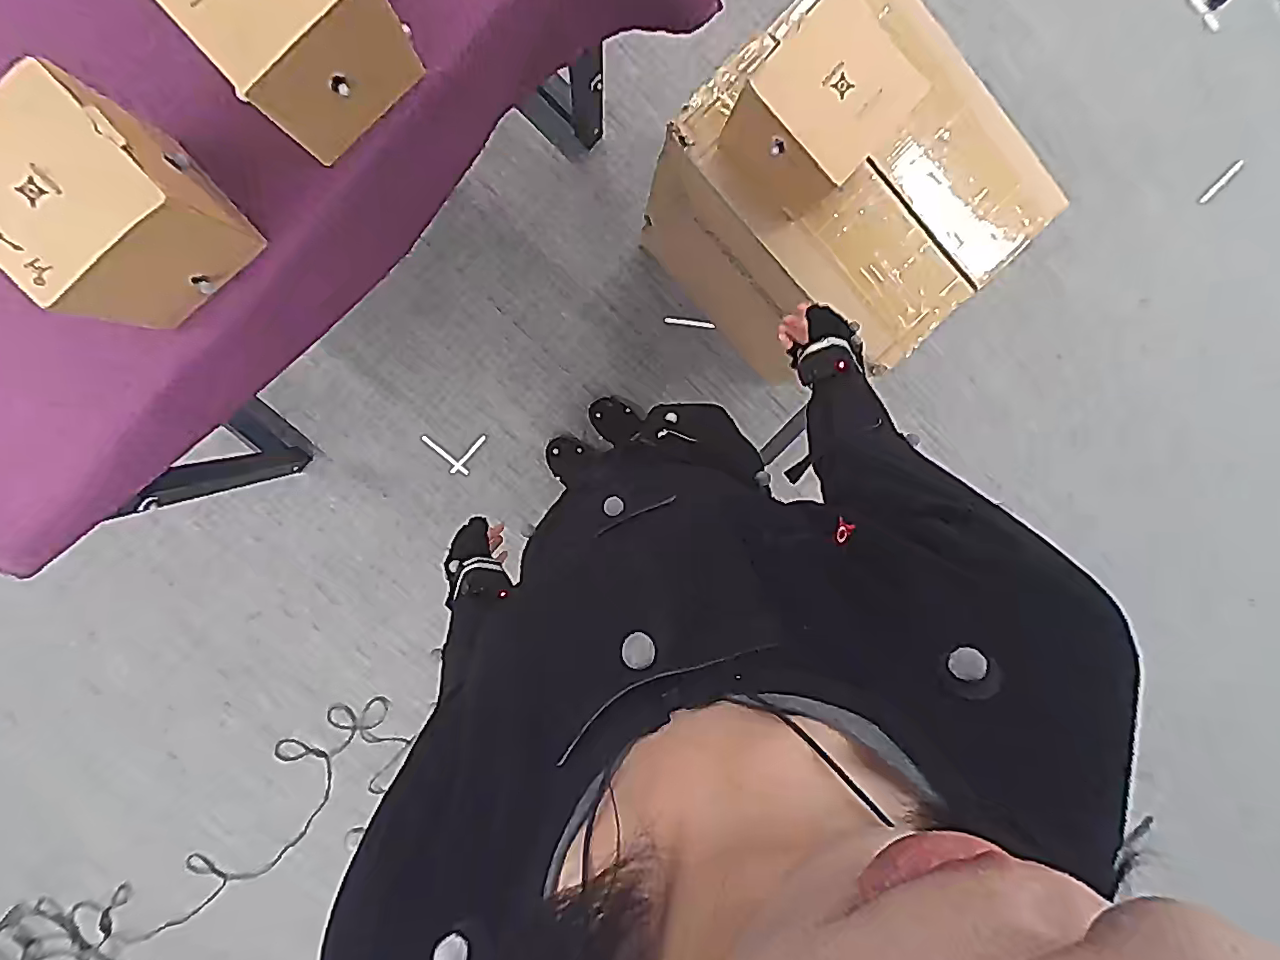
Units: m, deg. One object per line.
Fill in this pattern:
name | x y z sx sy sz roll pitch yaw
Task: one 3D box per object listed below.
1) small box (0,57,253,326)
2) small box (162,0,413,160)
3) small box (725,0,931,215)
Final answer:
small box | -0.586 -0.299 0.605 0.179 0.176 0.168 -41 98 1
small box | -0.379 -0.504 0.592 0.179 0.176 0.168 -41 98 3
small box | 0.241 -0.504 0.744 0.179 0.176 0.168 42 96 -10
